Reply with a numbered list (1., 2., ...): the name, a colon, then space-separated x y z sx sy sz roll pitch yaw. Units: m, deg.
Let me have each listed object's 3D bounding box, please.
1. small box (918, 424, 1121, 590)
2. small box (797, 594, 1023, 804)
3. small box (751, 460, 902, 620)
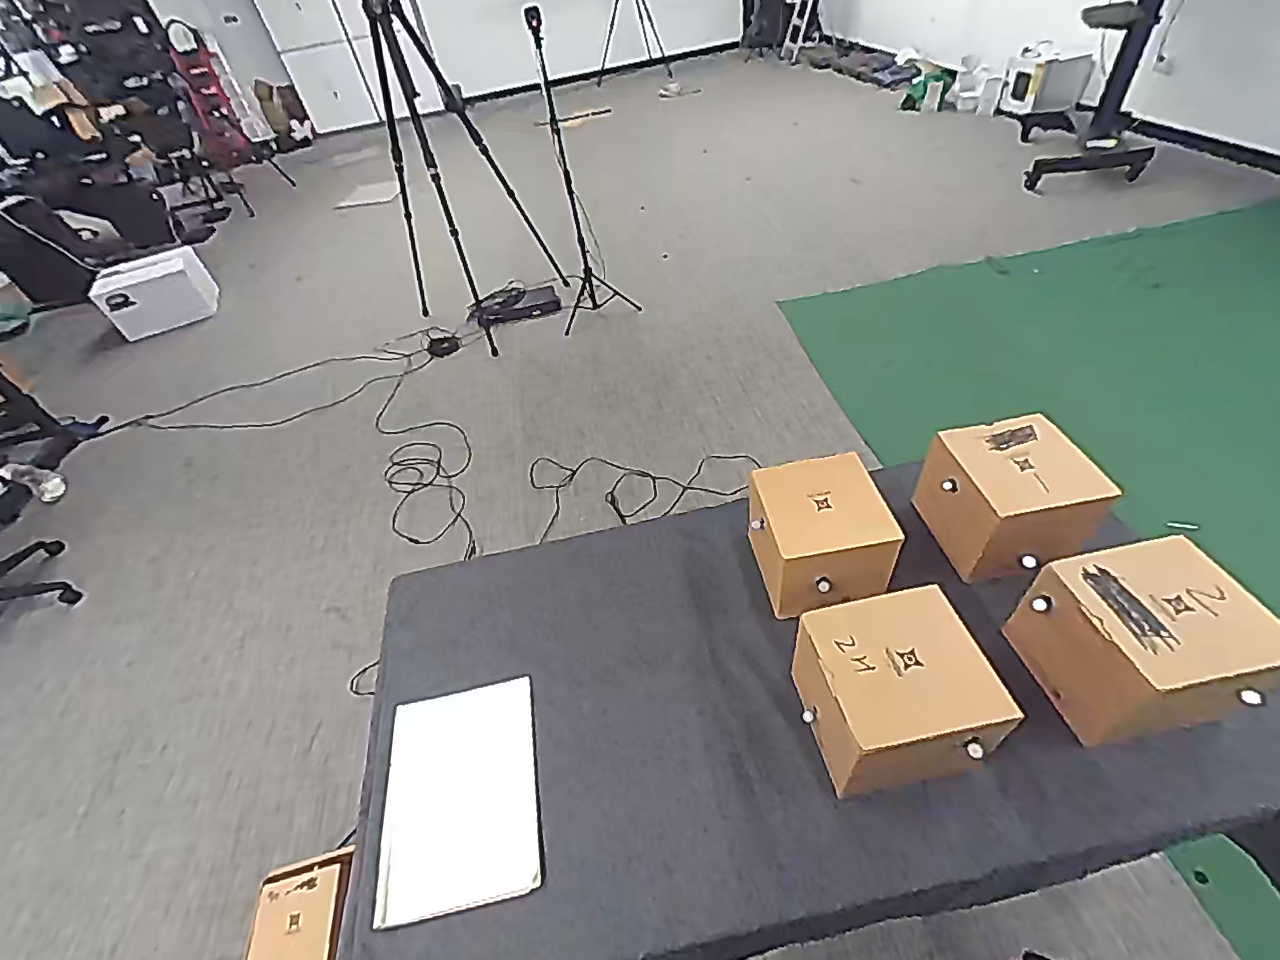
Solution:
1. small box: 0.558 0.042 0.830 0.168 0.176 0.179 -11 45 1
2. small box: 0.304 0.266 0.656 0.179 0.176 0.168 -12 43 0
3. small box: 0.274 0.099 0.833 0.168 0.176 0.179 -10 44 1
